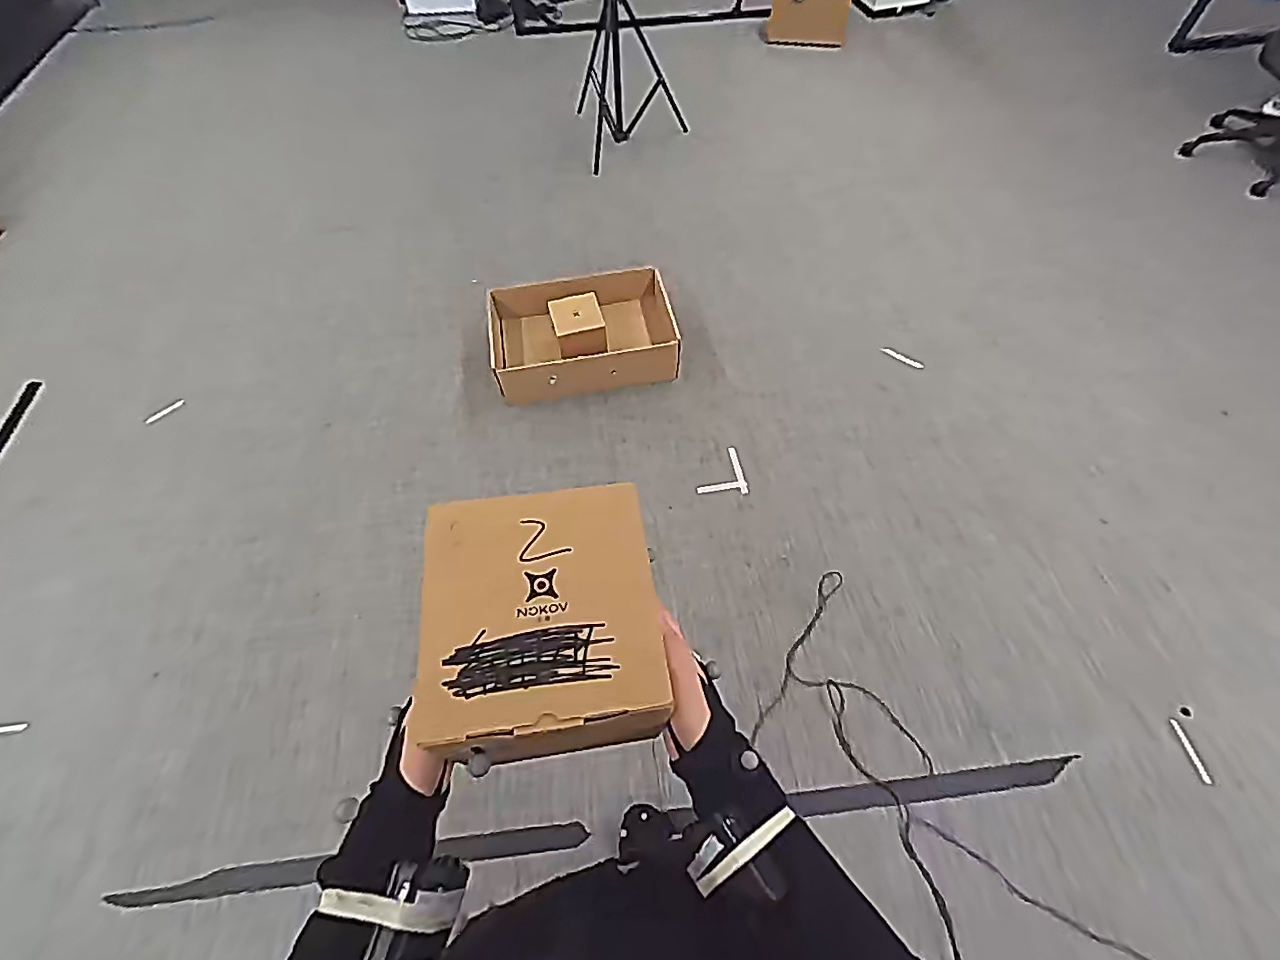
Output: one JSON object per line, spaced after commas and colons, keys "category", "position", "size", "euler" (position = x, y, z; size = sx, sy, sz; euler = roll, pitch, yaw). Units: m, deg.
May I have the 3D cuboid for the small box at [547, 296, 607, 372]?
{"category": "small box", "position": [-0.215, -0.505, 1.876], "size": [0.168, 0.176, 0.179], "euler": [-15, 60, -7]}
